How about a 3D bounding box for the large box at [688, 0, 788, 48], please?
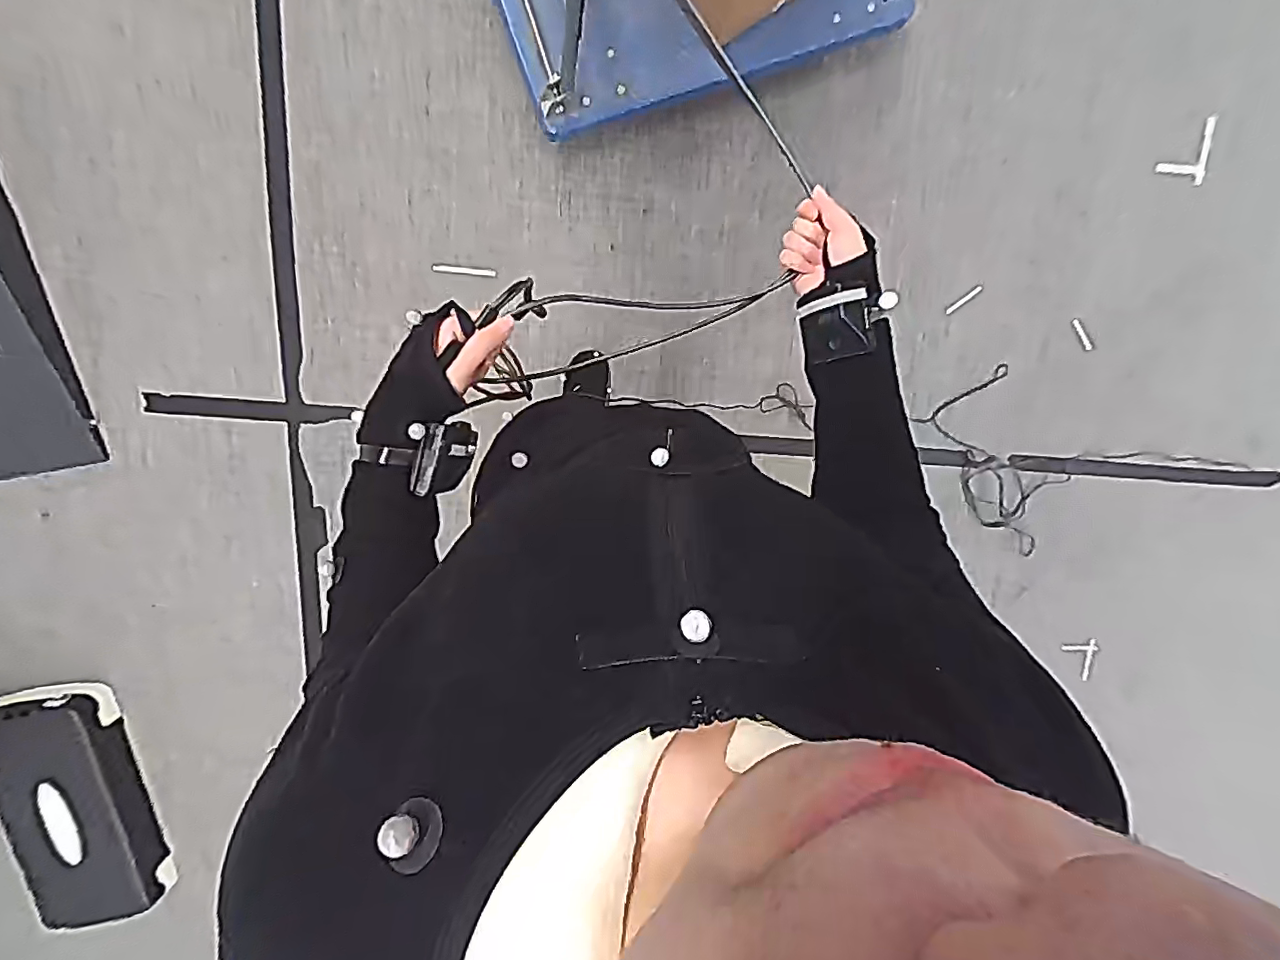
[{"bbox_3d":[0.193,-1.129,0.963,0.320,0.320,0.408,-34,104,1],"label":"large box"}]
